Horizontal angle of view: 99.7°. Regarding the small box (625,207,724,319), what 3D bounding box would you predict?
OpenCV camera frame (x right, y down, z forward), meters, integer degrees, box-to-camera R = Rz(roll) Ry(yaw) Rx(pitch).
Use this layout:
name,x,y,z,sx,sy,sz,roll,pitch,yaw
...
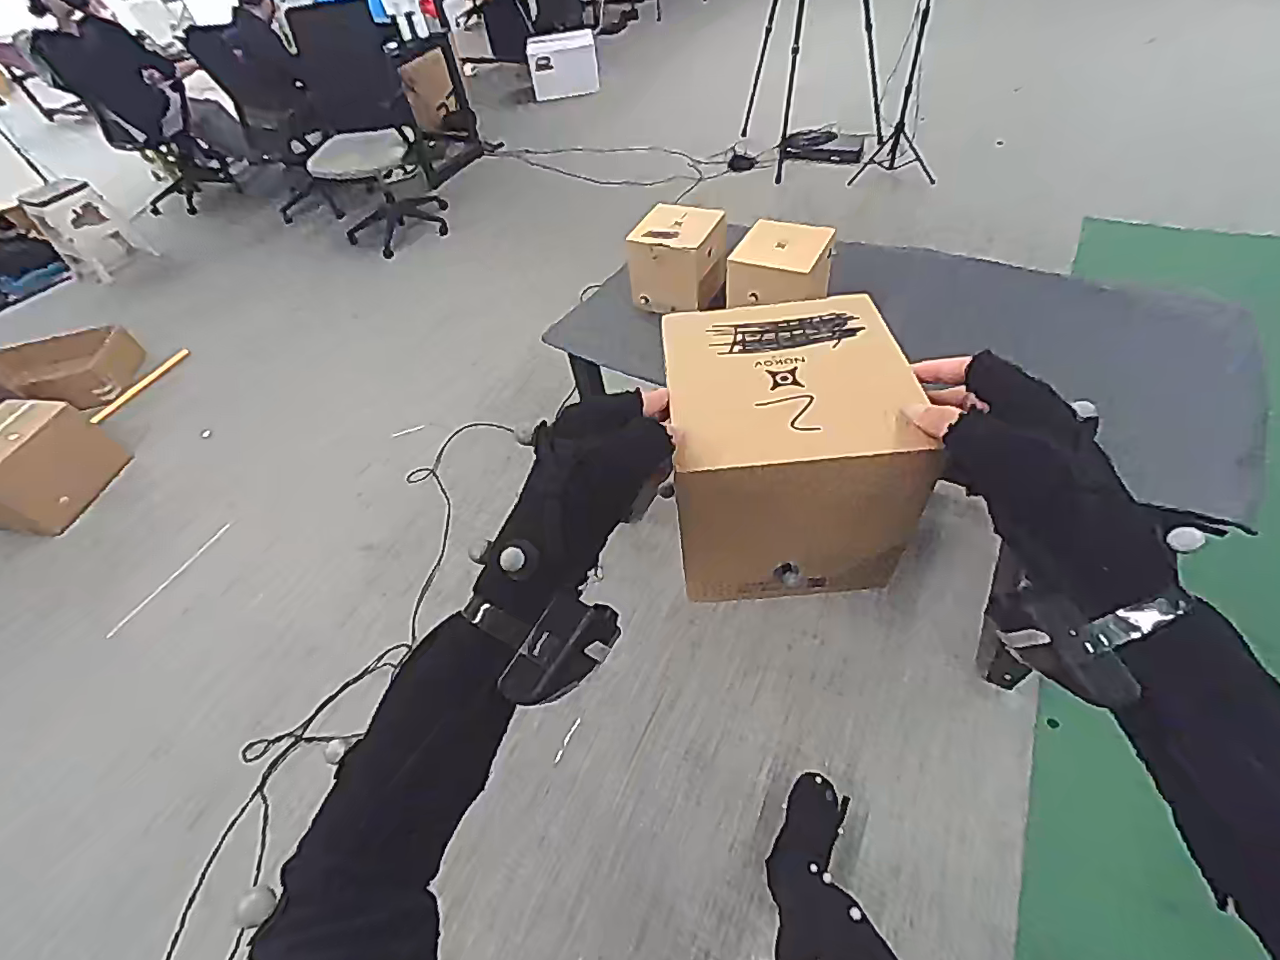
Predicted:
name,x,y,z,sx,sy,sz,roll,pitch,yaw
small box,0.085,-0.488,1.218,0.168,0.176,0.179,17,54,21

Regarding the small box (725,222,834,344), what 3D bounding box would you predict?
name,x,y,z,sx,sy,sz,roll,pitch,yaw
small box,0.288,-0.409,1.126,0.168,0.176,0.179,20,55,23
